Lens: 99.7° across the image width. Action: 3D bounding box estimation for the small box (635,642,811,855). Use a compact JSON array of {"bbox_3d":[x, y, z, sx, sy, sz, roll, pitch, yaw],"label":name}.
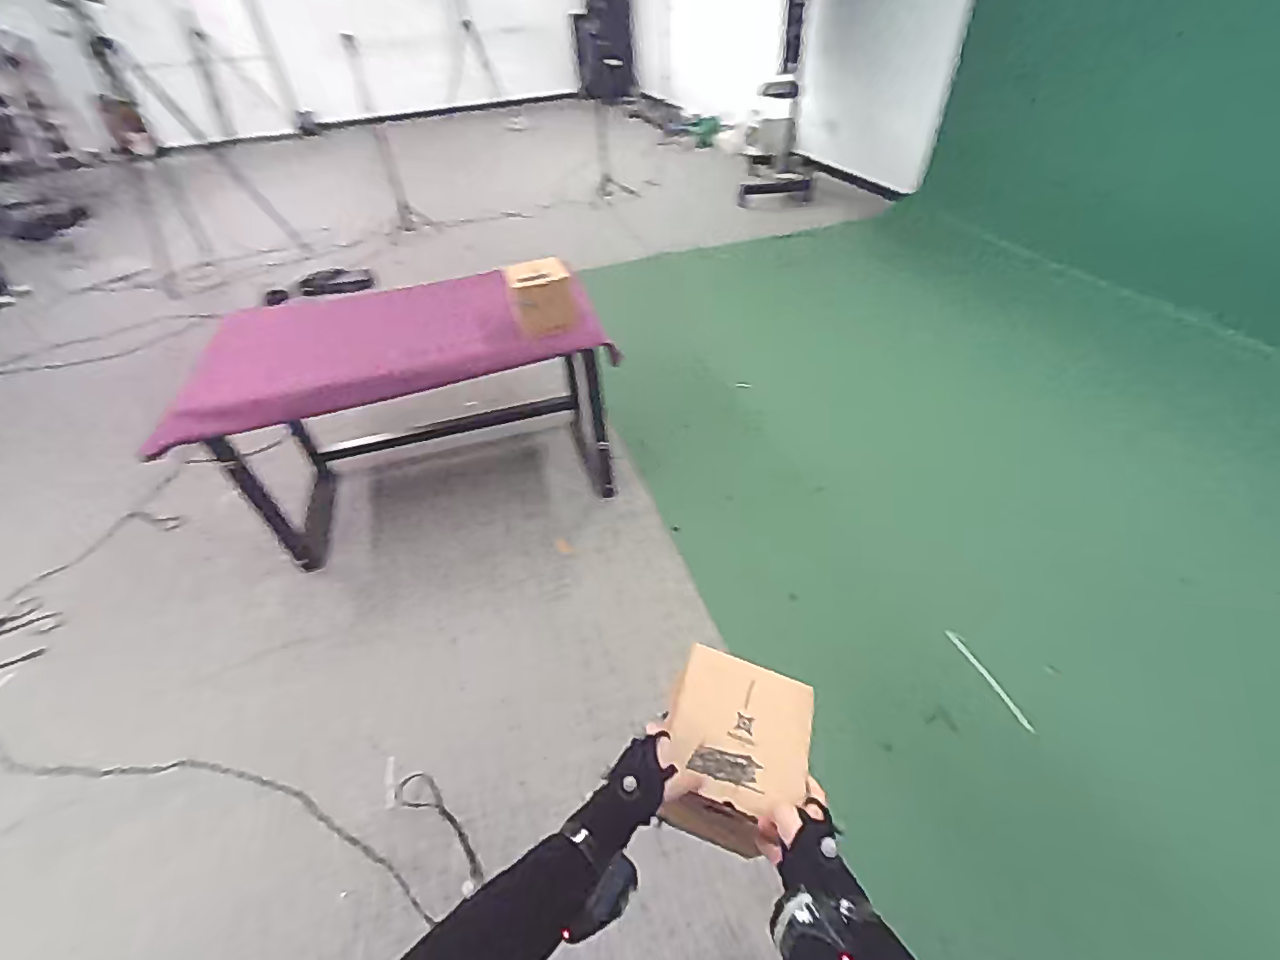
[{"bbox_3d":[0.100,0.347,0.692,0.168,0.176,0.179,20,46,4],"label":"small box"}]
